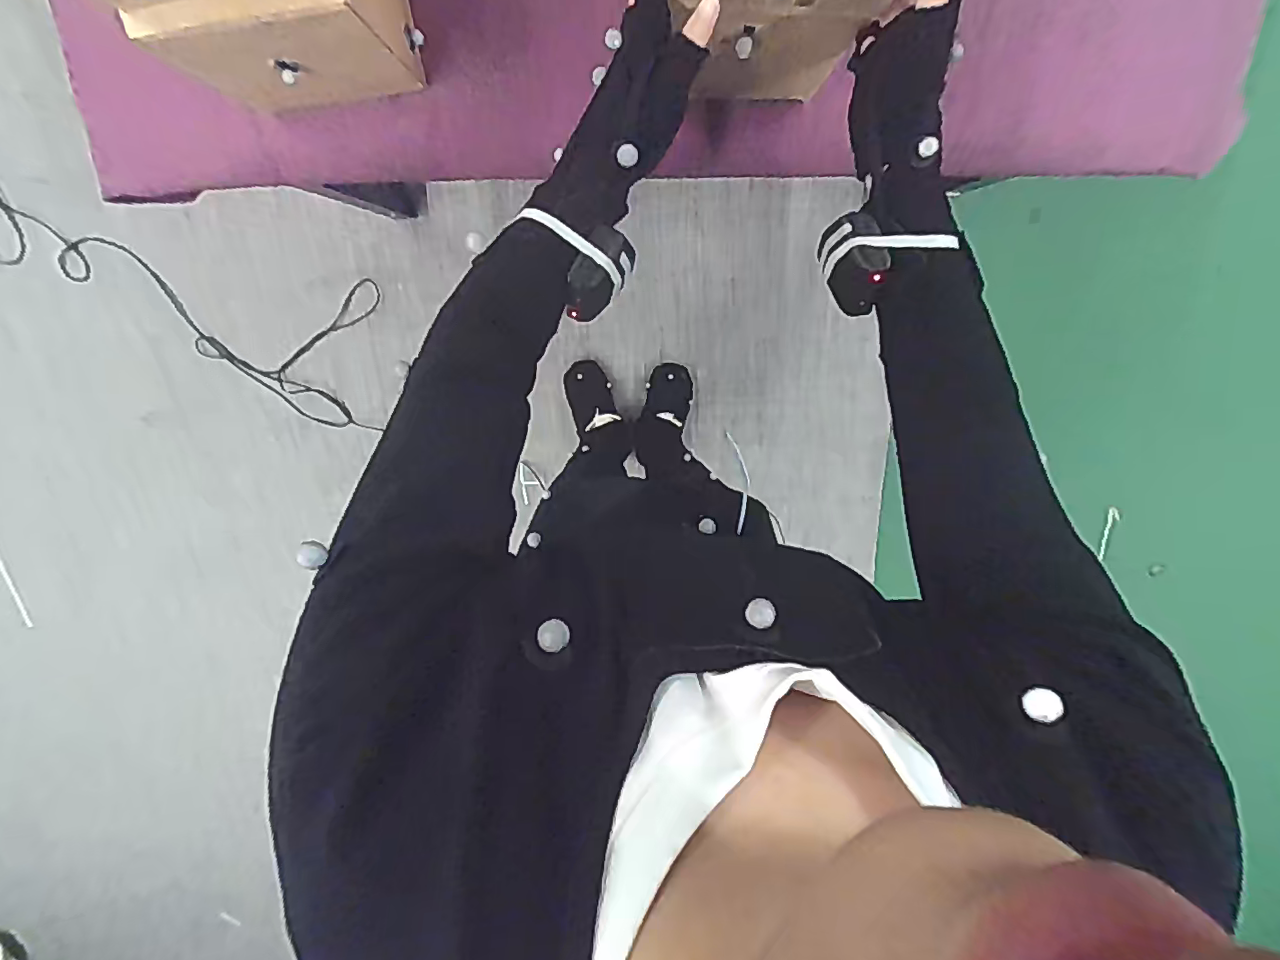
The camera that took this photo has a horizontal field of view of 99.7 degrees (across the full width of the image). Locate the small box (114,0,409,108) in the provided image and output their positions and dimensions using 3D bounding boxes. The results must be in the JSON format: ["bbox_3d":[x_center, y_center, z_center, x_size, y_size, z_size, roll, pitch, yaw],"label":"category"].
[{"bbox_3d":[-0.320,-0.449,0.465,0.179,0.176,0.168,-7,107,1],"label":"small box"}]

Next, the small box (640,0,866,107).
[{"bbox_3d":[0.091,-0.455,0.476,0.179,0.176,0.168,1,105,-1],"label":"small box"}]

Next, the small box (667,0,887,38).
[{"bbox_3d":[0.101,-0.411,0.317,0.168,0.176,0.179,4,105,-2],"label":"small box"}]
